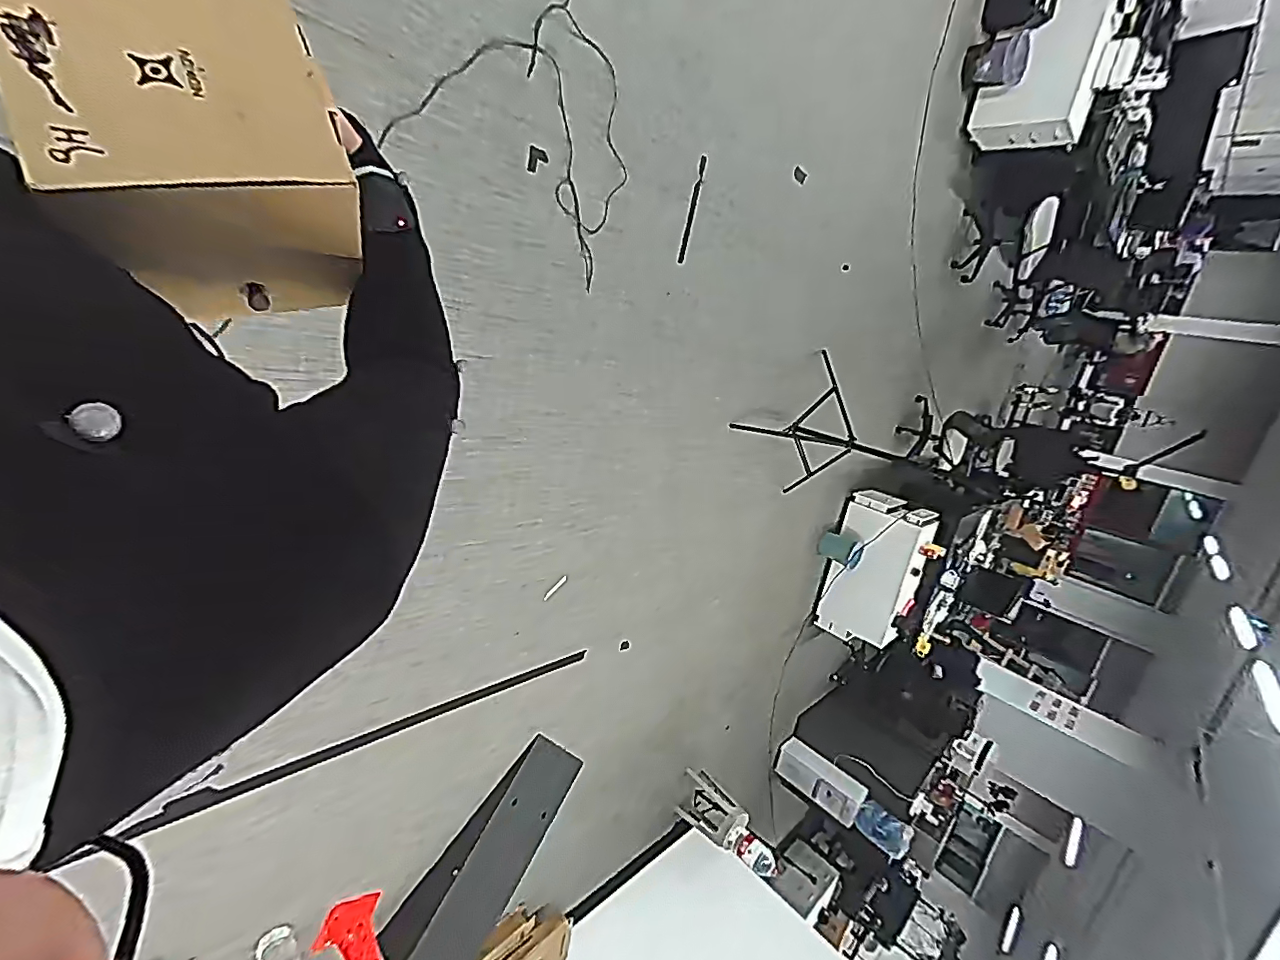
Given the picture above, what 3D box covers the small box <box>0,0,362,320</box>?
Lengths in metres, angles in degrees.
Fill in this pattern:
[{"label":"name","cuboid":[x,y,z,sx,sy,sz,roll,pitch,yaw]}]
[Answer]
[{"label":"small box","cuboid":[-0.345,-0.251,0.440,0.179,0.176,0.168,-19,85,-29]}]
